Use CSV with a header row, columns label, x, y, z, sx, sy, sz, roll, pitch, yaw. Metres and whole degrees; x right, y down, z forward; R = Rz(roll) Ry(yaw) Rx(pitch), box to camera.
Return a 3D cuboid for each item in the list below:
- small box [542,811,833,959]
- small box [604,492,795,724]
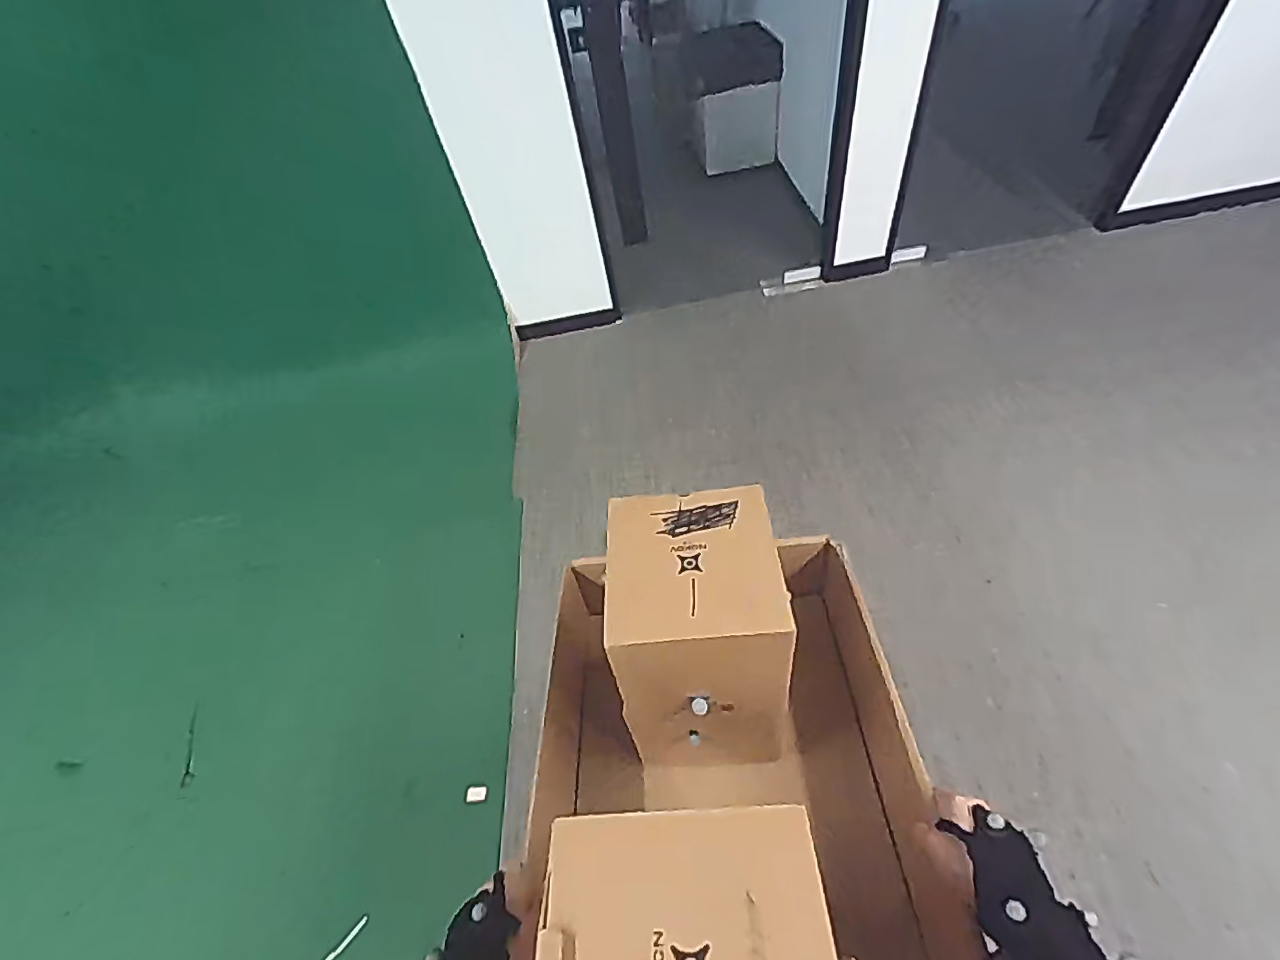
label,x,y,z,sx,sy,sz,roll,pitch,yaw
small box,0.036,0.346,0.369,0.179,0.176,0.168,-6,44,4
small box,0.060,0.136,0.574,0.168,0.176,0.179,-6,45,5
